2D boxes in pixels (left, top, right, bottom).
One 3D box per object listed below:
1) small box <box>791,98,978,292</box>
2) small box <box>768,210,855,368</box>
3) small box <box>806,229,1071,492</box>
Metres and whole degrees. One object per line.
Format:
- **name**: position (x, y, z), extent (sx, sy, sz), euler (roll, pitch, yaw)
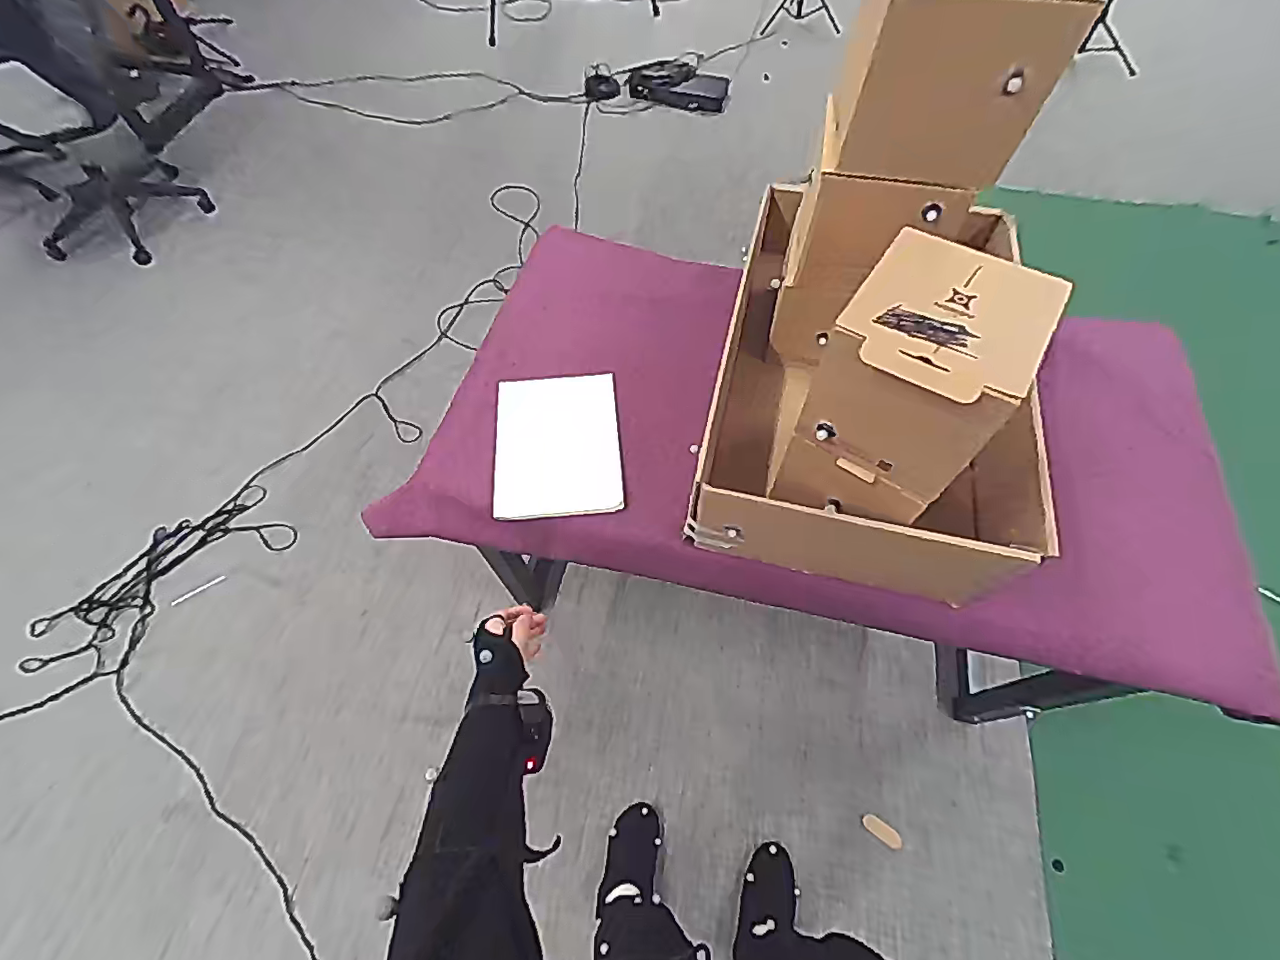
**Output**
- **small box**: position (0.305, -0.361, 0.708), extent (0.179, 0.176, 0.168), euler (10, 63, 7)
- **small box**: position (0.304, -0.288, 0.852), extent (0.168, 0.176, 0.179), euler (12, 63, 8)
- **small box**: position (0.291, -0.118, 0.564), extent (0.168, 0.176, 0.179), euler (30, 64, 19)
